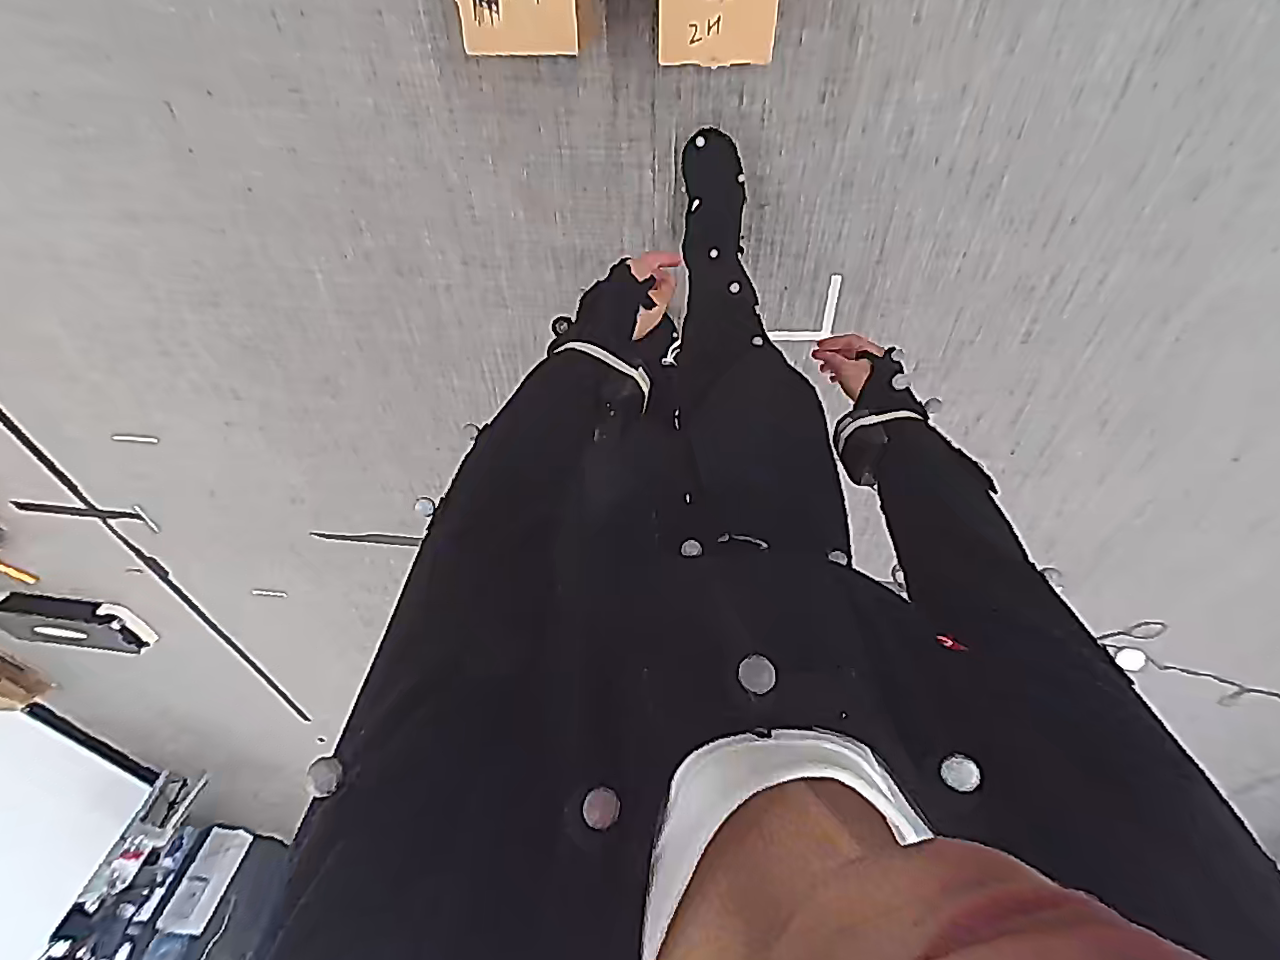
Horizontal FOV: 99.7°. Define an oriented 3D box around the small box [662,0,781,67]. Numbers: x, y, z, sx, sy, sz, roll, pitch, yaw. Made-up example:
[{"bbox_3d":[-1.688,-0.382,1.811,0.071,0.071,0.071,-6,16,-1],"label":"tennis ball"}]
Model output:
[{"bbox_3d":[0.120,-0.724,0.794,0.168,0.176,0.179,4,133,6],"label":"small box"}]
